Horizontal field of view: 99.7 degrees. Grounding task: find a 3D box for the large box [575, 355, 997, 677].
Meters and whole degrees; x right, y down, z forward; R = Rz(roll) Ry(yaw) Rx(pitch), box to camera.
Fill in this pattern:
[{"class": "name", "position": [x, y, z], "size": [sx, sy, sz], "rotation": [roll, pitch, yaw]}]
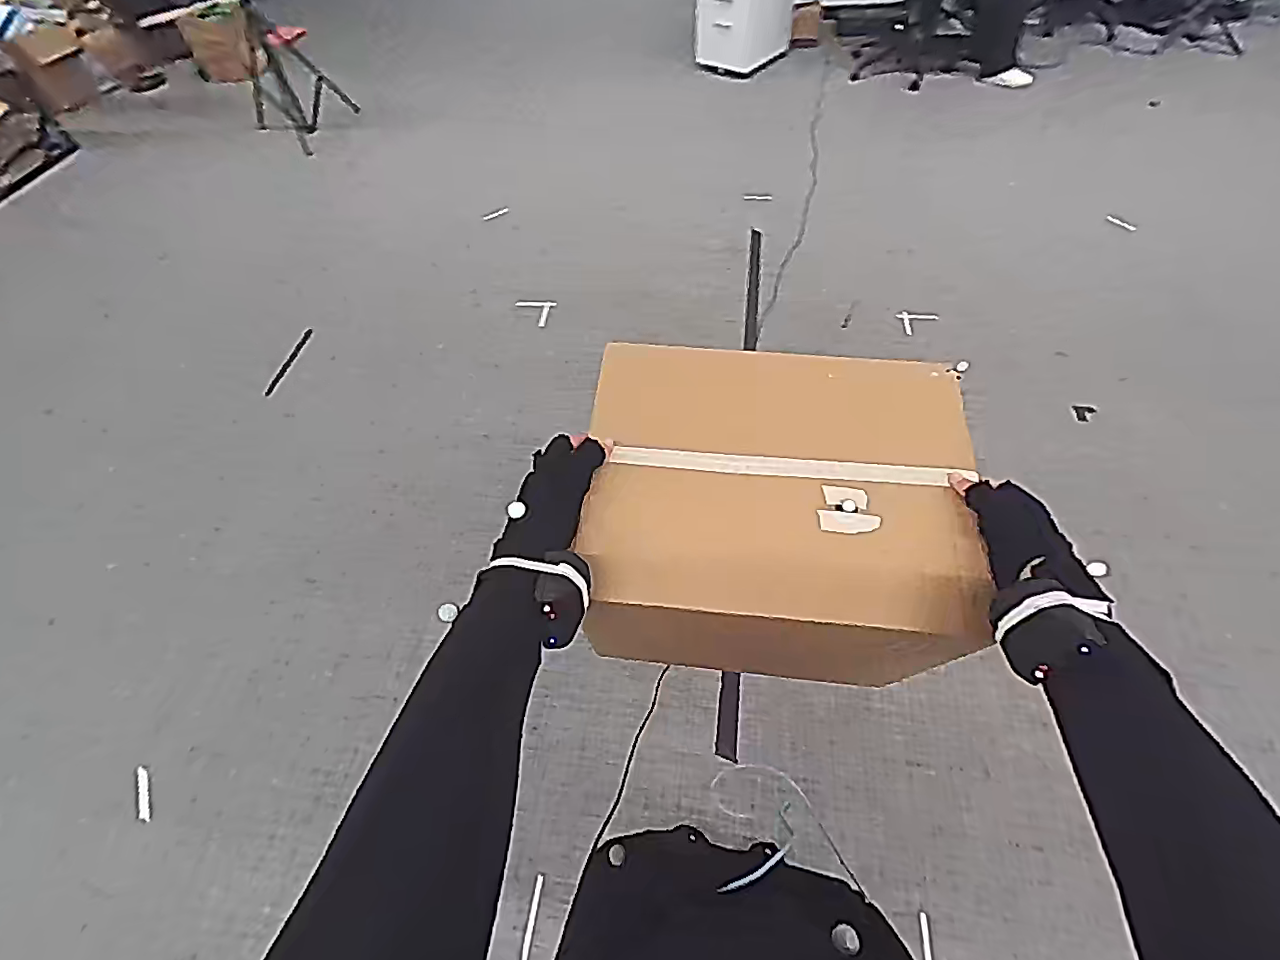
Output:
[{"class": "large box", "position": [0.148, 0.062, 0.708], "size": [0.408, 0.320, 0.320], "rotation": [4, 63, 4]}]
